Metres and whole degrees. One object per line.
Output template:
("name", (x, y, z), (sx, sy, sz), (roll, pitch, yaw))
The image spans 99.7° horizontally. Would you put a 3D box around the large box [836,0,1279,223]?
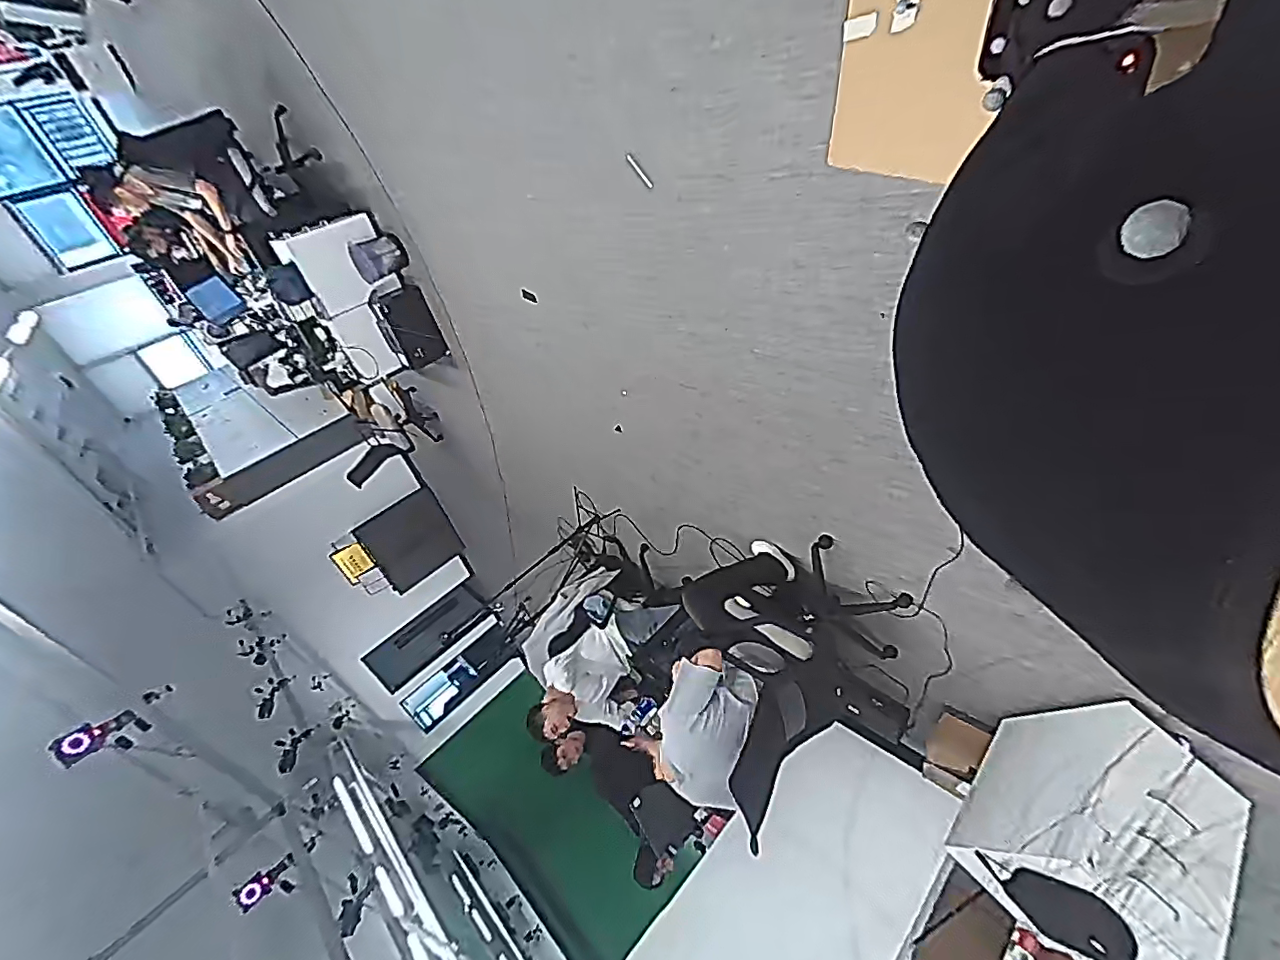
("large box", (0.521, -0.557, 0.688), (0.320, 0.408, 0.320), (45, 150, 42))
